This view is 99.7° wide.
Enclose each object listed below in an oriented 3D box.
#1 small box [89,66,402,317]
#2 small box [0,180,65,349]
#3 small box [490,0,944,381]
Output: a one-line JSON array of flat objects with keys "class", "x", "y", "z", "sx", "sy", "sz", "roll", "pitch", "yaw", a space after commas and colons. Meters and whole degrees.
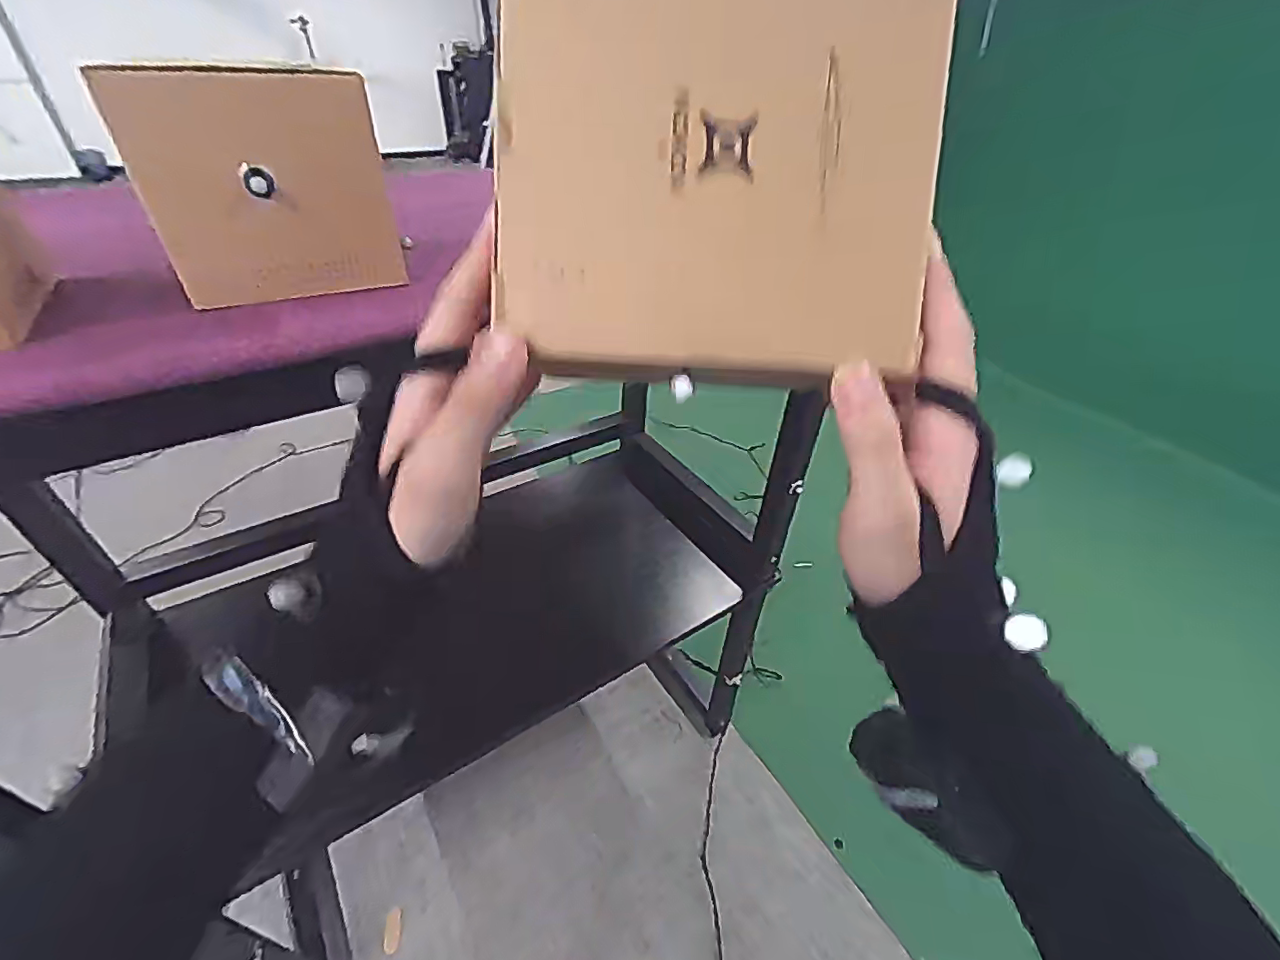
[{"class": "small box", "x": -0.333, "y": -0.267, "z": 0.496, "sx": 0.179, "sy": 0.176, "sz": 0.168, "roll": -18, "pitch": 42, "yaw": -24}, {"class": "small box", "x": -0.565, "y": -0.176, "z": 0.365, "sx": 0.179, "sy": 0.176, "sz": 0.168, "roll": -19, "pitch": 44, "yaw": -25}, {"class": "small box", "x": 0.028, "y": -0.145, "z": 0.296, "sx": 0.179, "sy": 0.168, "sz": 0.176, "roll": 3, "pitch": 7, "yaw": -2}]
